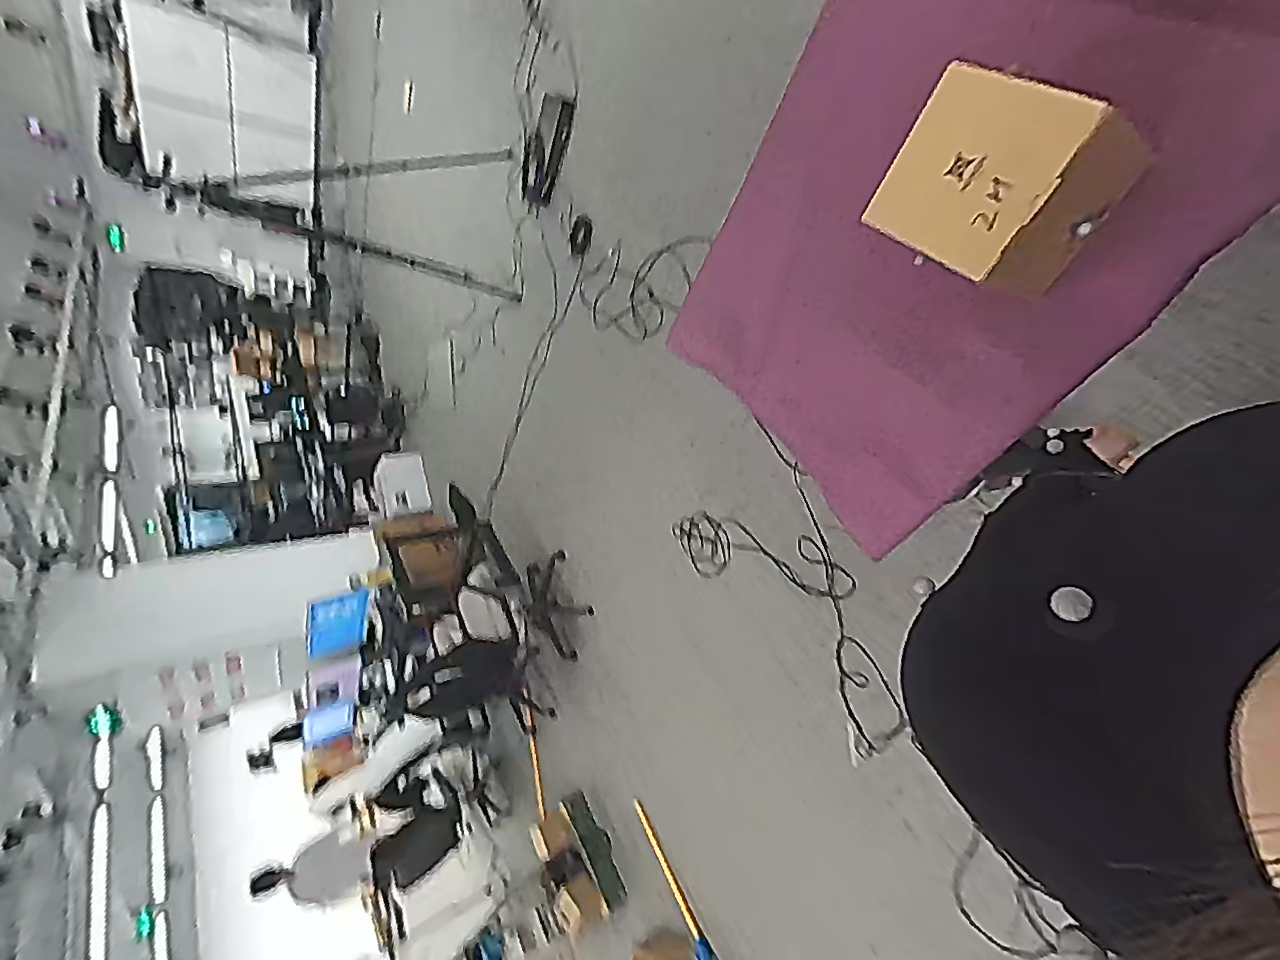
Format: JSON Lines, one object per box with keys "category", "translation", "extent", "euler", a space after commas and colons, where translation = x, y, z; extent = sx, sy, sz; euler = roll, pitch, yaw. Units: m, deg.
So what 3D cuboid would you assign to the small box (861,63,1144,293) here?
{"category": "small box", "translation": [0.401, -0.329, 0.611], "extent": [0.179, 0.176, 0.168], "euler": [53, 134, 35]}
